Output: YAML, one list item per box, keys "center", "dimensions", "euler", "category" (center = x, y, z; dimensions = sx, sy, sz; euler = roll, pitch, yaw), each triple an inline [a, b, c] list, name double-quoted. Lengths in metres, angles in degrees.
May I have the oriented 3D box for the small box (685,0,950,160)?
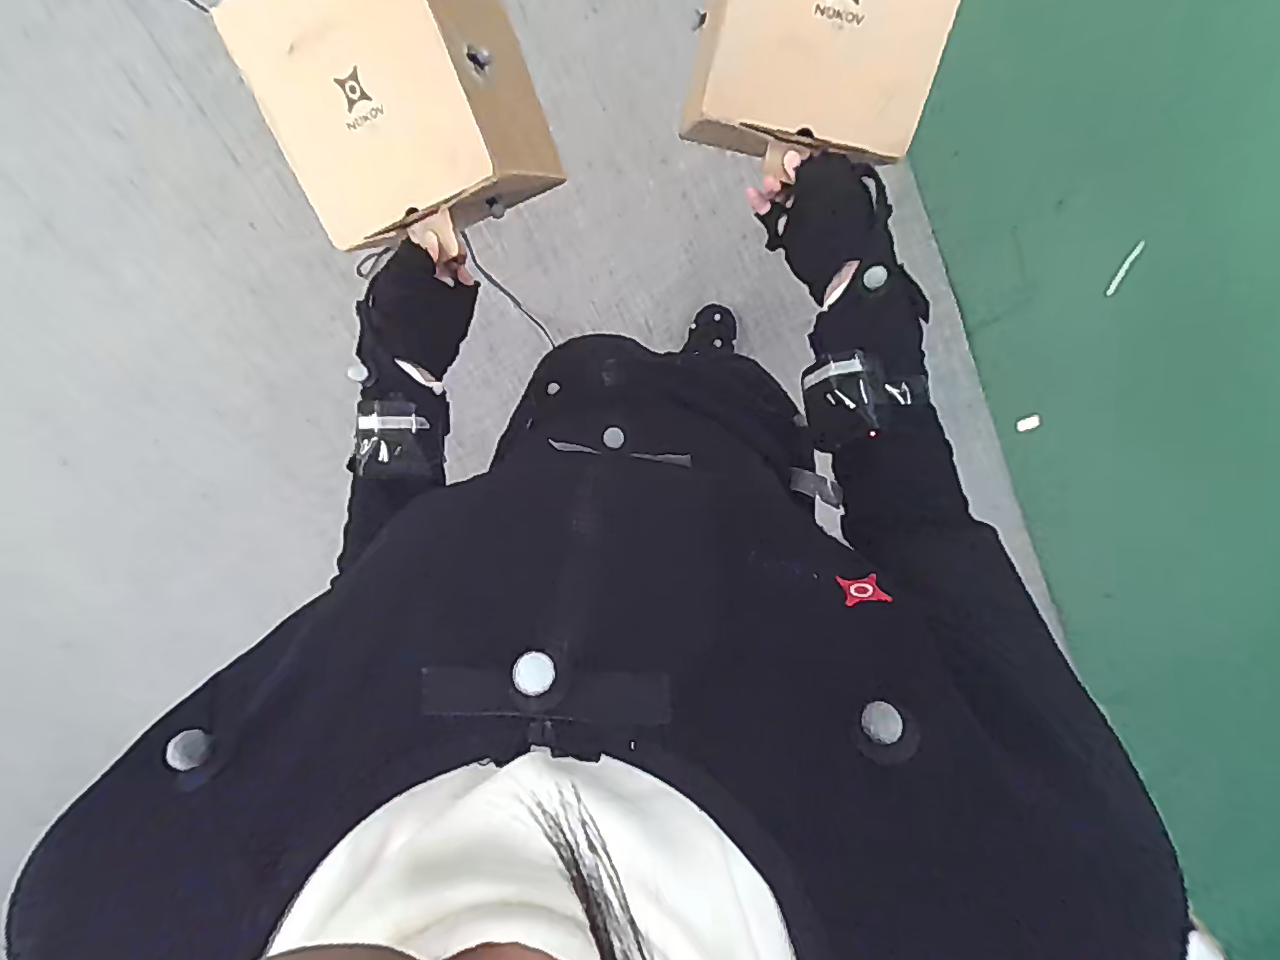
- center: [0.137, -0.382, 0.451]
  dimensions: [0.168, 0.176, 0.179]
  euler: [7, 117, -6]
  category: "small box"

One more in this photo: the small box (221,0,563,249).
- center: [-0.190, -0.325, 0.472]
  dimensions: [0.168, 0.176, 0.179]
  euler: [-15, 112, 19]
  category: "small box"
